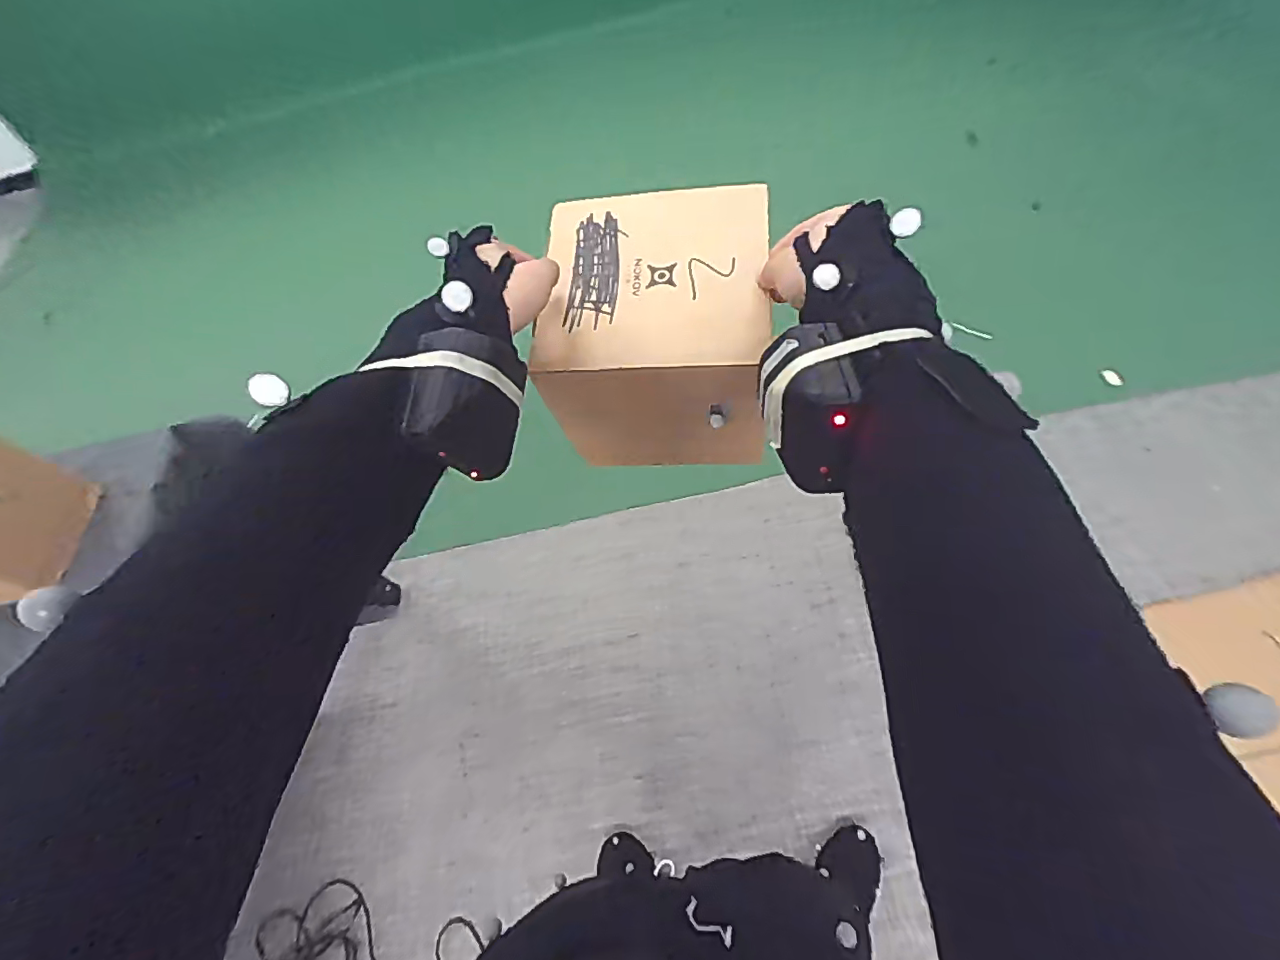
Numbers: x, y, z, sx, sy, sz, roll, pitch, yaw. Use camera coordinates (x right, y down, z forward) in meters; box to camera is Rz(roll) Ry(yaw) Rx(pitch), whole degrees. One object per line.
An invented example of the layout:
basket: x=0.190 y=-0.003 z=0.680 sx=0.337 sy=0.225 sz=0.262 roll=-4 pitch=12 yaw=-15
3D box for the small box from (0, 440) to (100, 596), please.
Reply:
small box: x=-0.903 y=0.054 z=0.725 sx=0.168 sy=0.176 sz=0.179 roll=-8 pitch=58 yaw=5
